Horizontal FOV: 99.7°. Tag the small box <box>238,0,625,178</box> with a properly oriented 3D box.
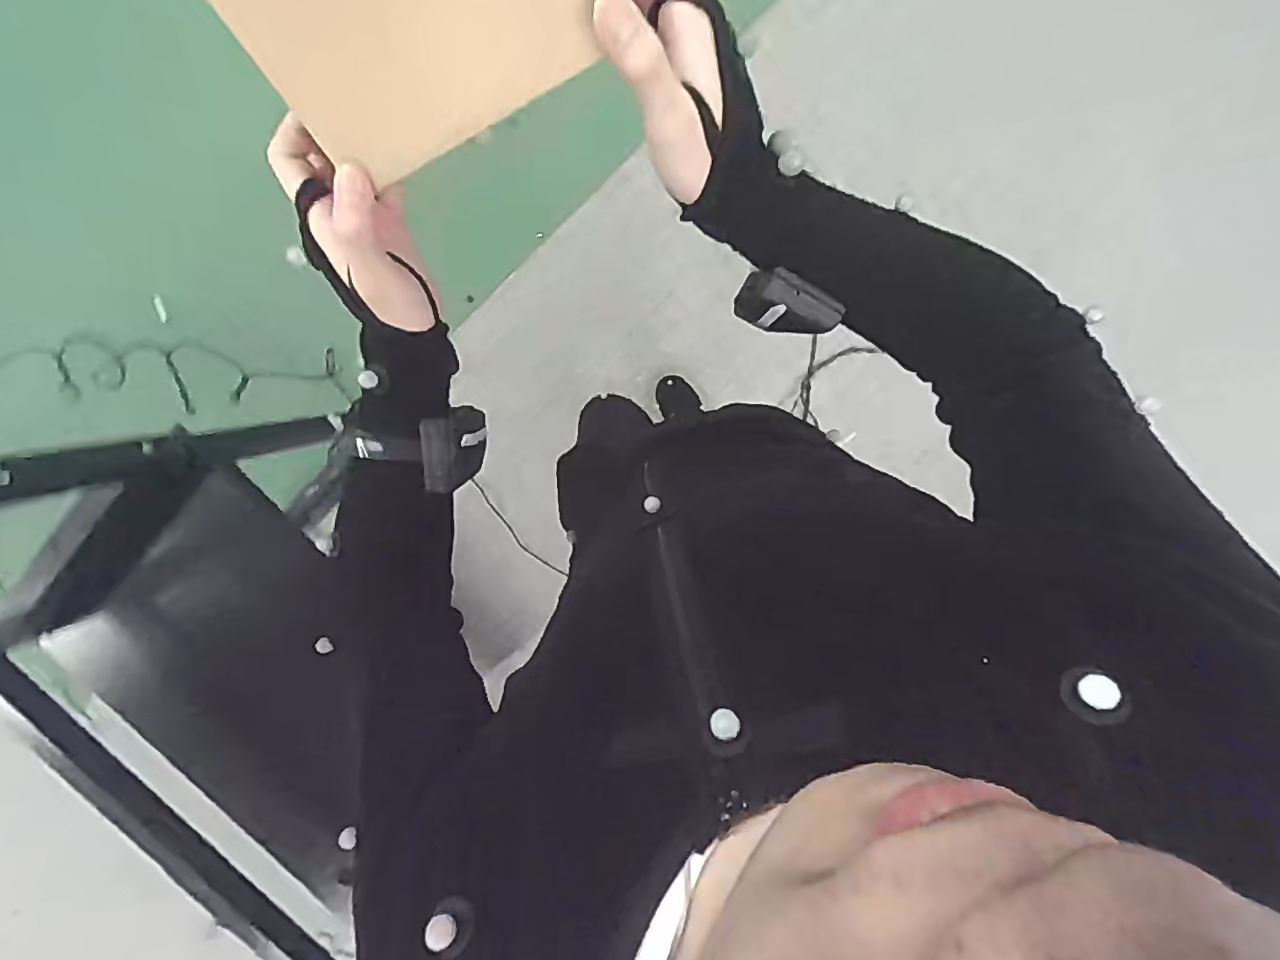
[{"bbox_3d":[-0.116,-0.305,0.287,0.168,0.176,0.179,-20,132,14],"label":"small box"}]
